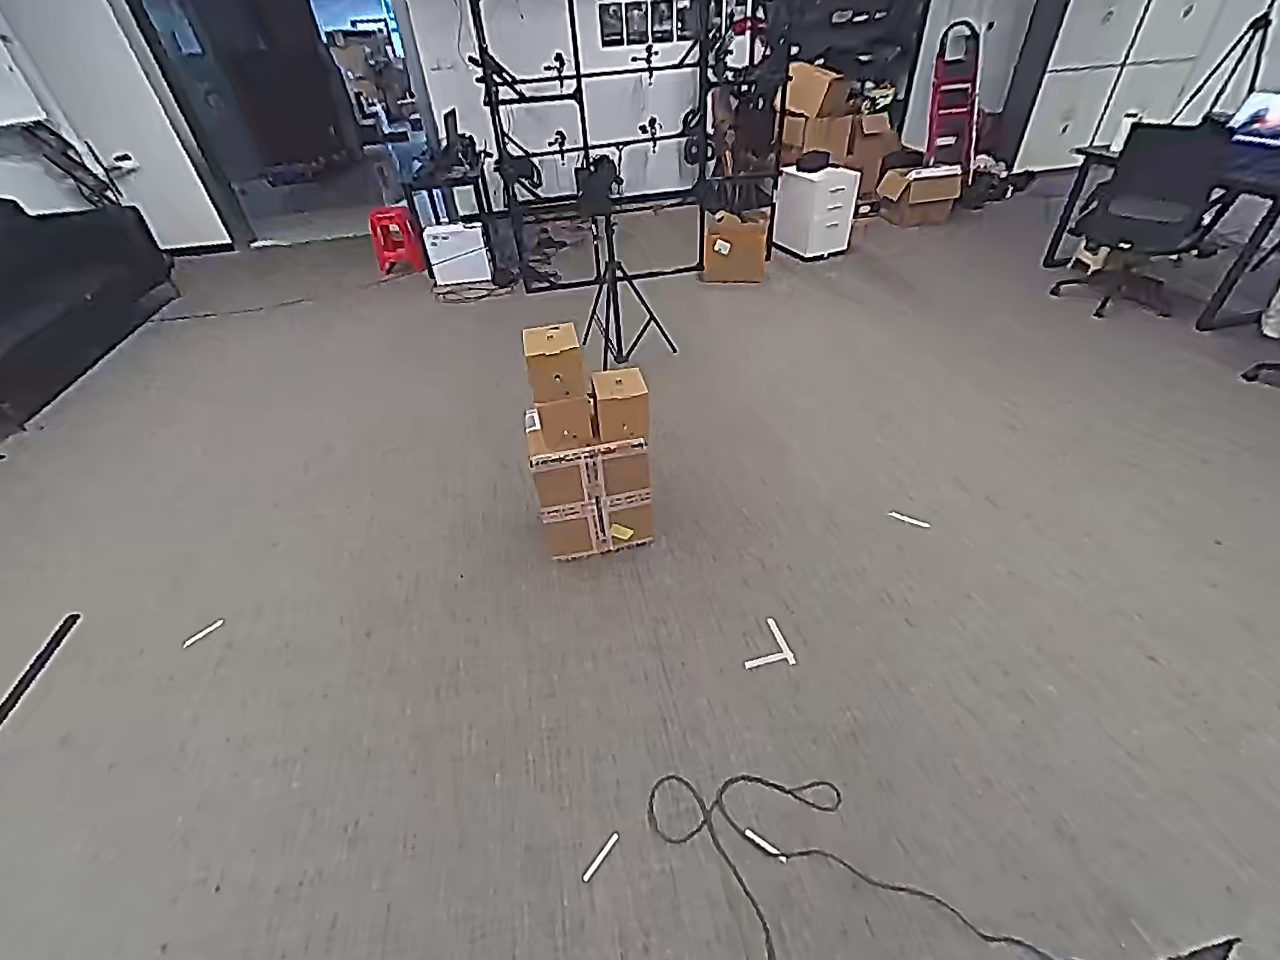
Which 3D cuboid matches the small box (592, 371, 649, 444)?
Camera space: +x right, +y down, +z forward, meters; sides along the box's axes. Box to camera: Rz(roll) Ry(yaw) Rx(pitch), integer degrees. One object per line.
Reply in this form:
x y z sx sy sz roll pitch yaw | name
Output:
-0.066 -0.243 1.814 0.168 0.176 0.179 -9 42 -8 | small box

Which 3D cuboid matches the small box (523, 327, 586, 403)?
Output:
-0.270 -0.359 1.713 0.168 0.176 0.179 -11 43 -6 | small box

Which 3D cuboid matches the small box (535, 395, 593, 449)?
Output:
-0.259 -0.228 1.812 0.168 0.176 0.179 -13 43 -8 | small box
